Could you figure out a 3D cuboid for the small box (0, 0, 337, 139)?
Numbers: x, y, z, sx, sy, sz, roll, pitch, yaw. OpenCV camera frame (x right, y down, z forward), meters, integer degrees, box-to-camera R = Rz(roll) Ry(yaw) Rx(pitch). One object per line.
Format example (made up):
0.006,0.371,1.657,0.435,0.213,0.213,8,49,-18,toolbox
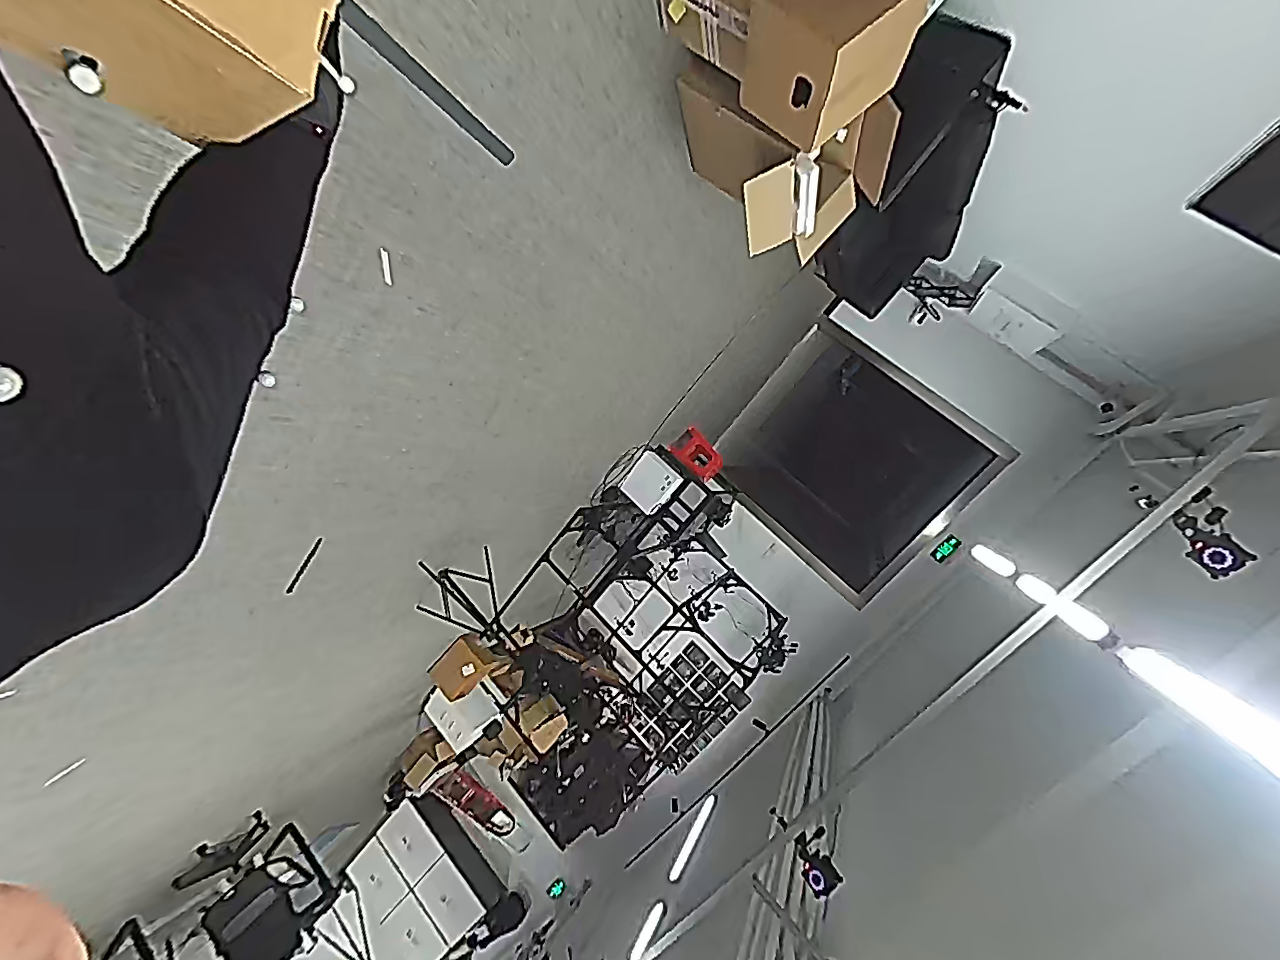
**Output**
-0.325,-0.358,0.351,0.179,0.176,0.168,12,85,-57,small box
